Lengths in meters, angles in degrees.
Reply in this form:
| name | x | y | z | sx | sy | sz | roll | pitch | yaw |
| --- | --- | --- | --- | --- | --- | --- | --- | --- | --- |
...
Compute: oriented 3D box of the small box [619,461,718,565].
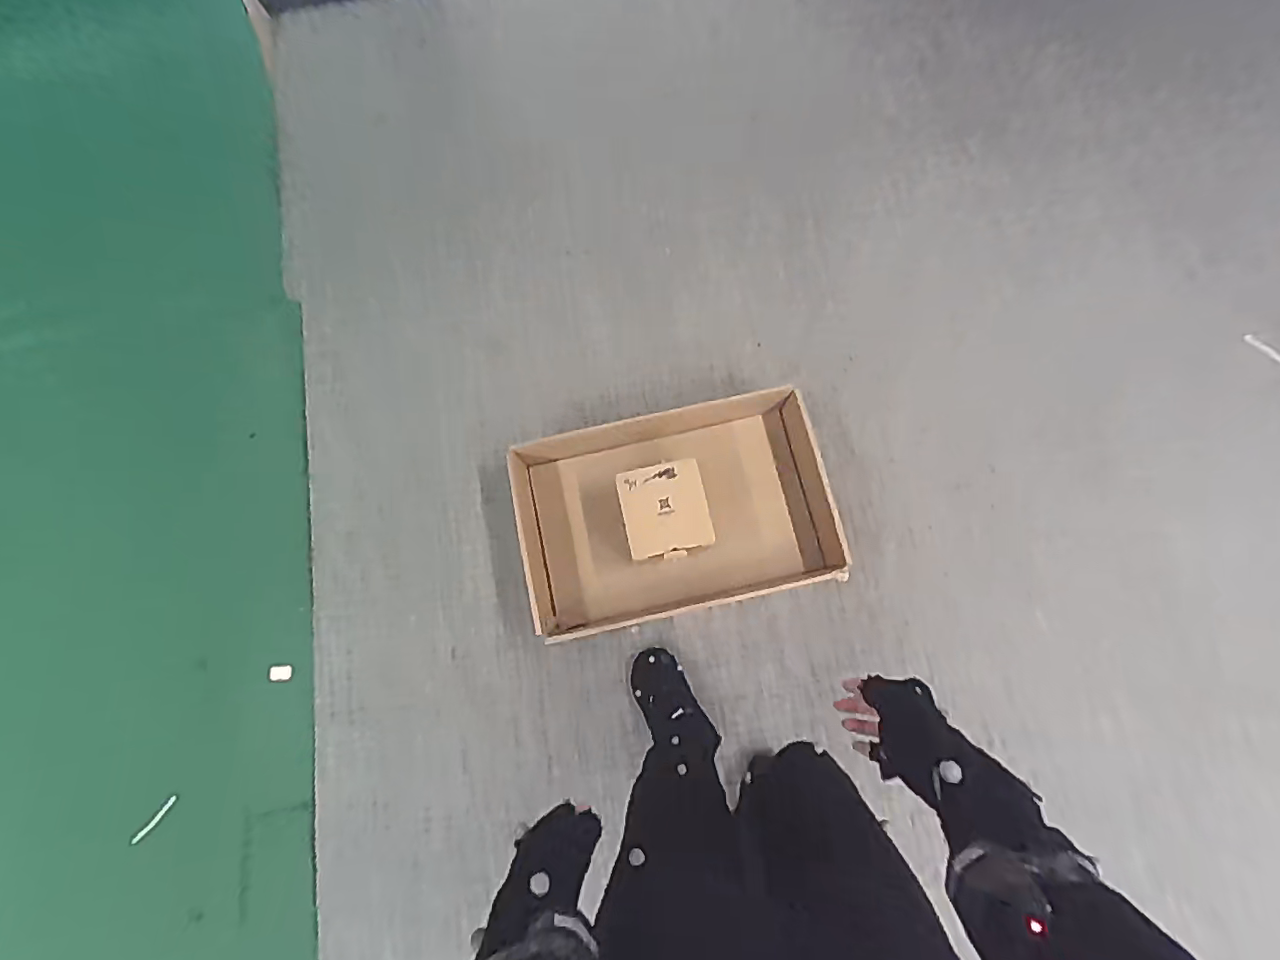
| name | x | y | z | sx | sy | sz | roll | pitch | yaw |
| --- | --- | --- | --- | --- | --- | --- | --- | --- | --- |
| small box | 0.058 | 0.076 | 1.124 | 0.168 | 0.176 | 0.179 | -12 | 79 | 0 |
